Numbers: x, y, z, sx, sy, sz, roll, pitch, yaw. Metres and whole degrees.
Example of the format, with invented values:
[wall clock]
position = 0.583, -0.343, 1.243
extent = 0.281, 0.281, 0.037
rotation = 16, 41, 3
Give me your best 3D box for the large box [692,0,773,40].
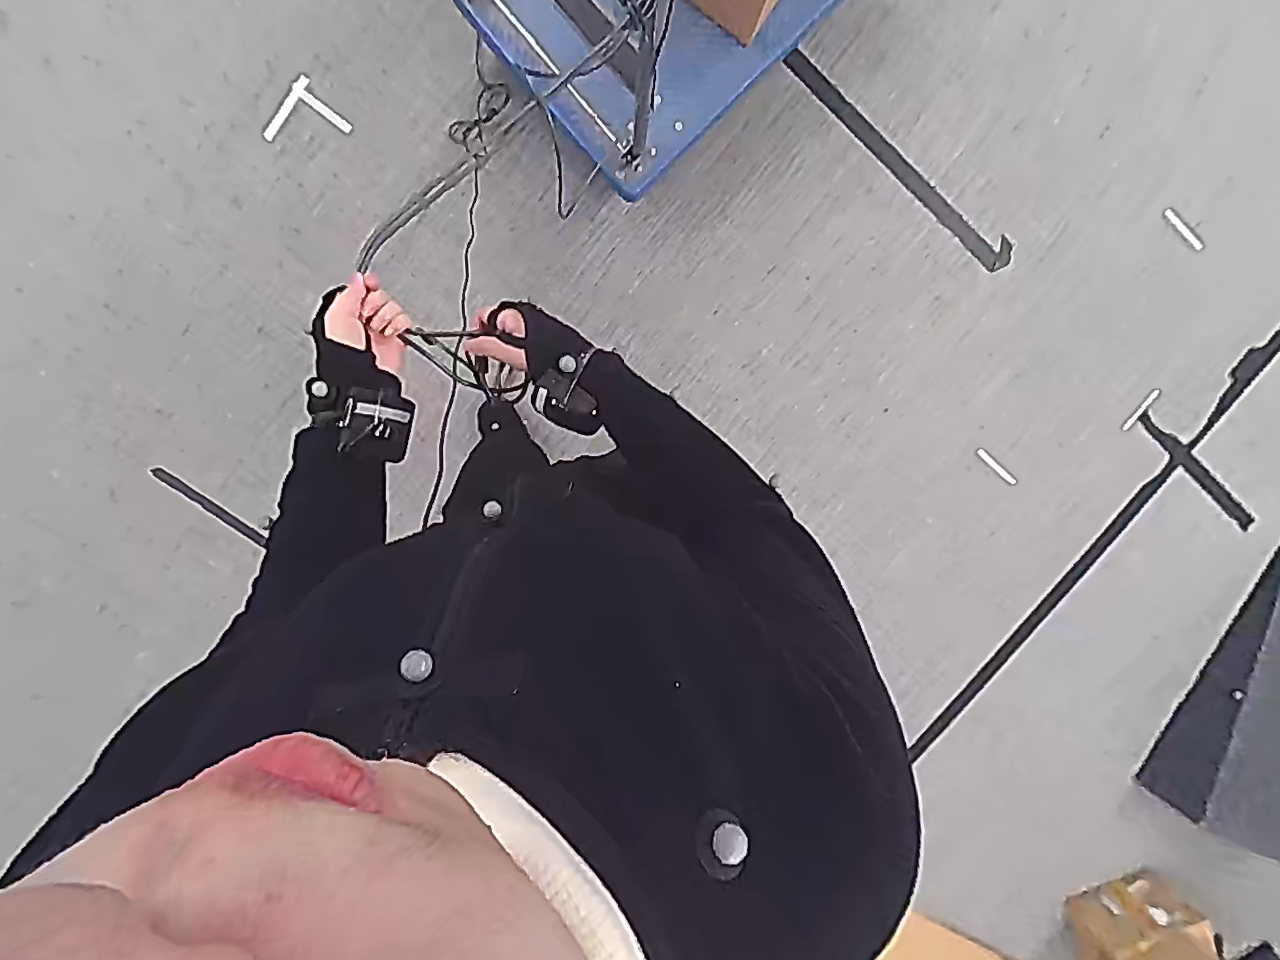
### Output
[large box]
position = 0.158, -1.157, 0.990
extent = 0.408, 0.320, 0.320
rotation = 32, 96, -8
